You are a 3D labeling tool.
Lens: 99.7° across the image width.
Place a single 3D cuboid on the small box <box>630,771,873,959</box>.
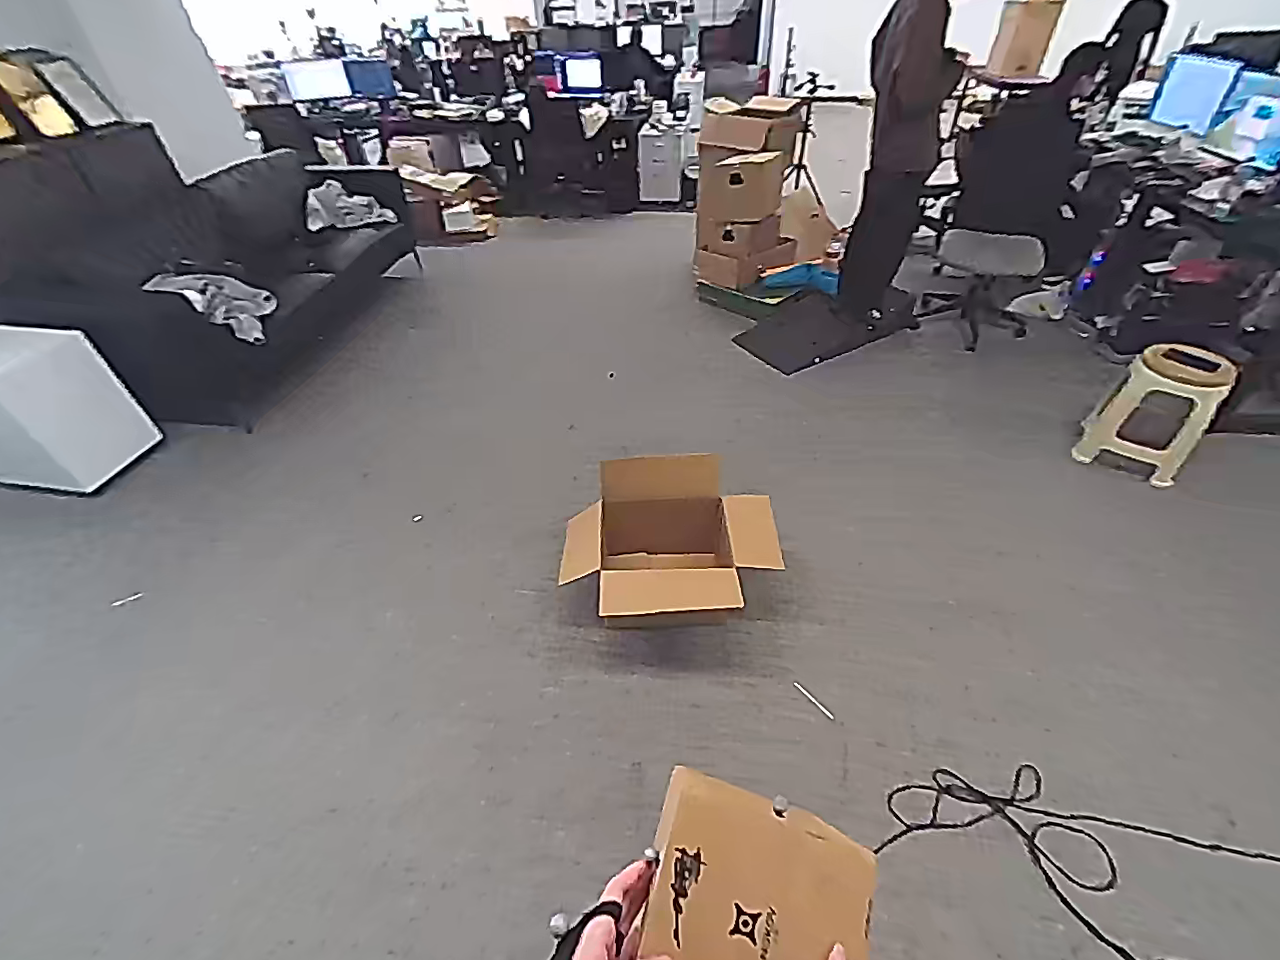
[{"bbox_3d":[0.097,0.400,0.523,0.179,0.176,0.168,16,68,8],"label":"small box"}]
